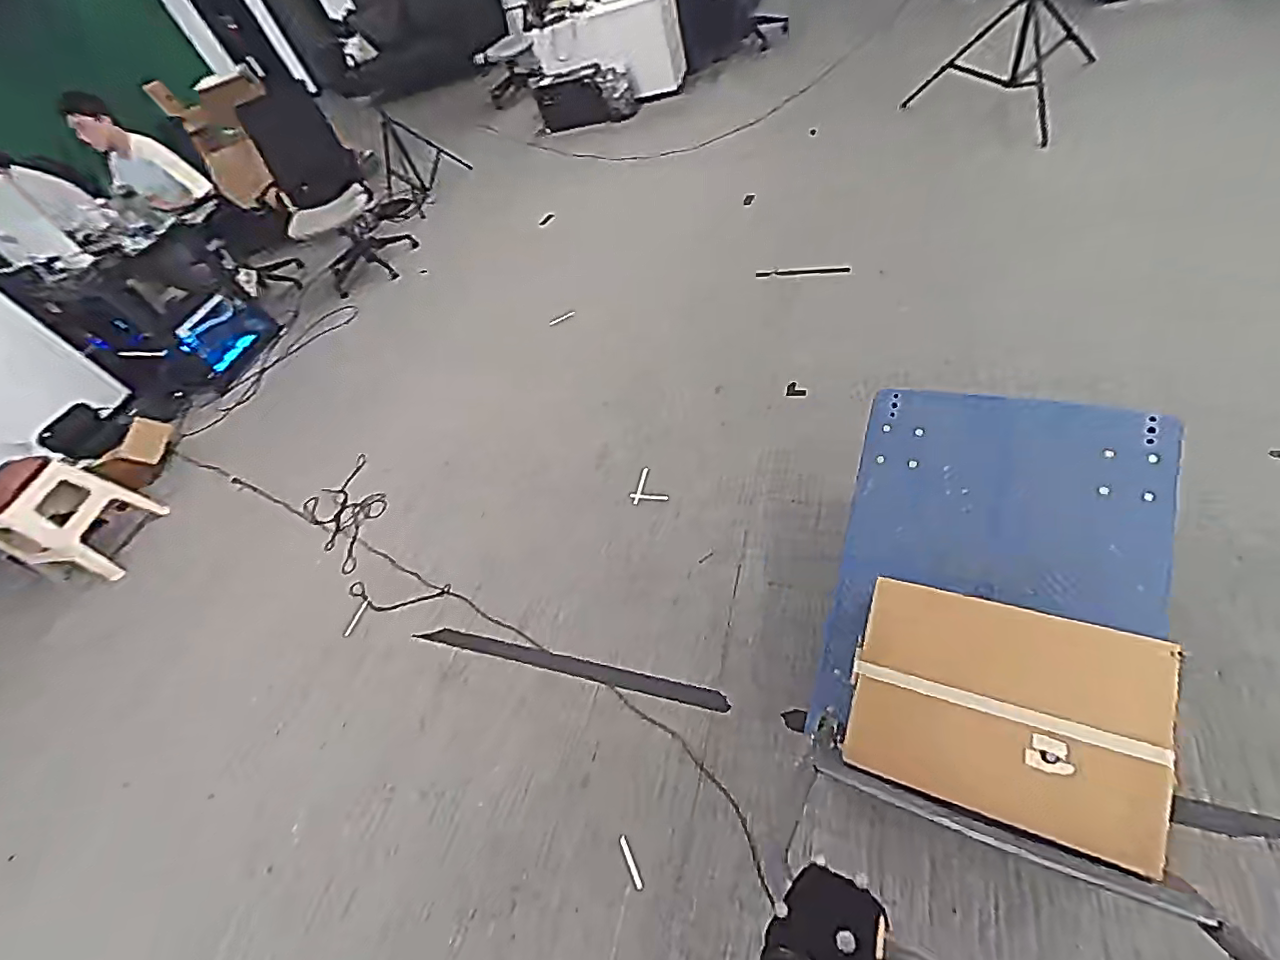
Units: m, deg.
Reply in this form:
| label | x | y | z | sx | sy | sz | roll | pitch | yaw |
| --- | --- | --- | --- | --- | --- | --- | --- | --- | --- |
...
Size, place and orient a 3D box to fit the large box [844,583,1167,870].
| label | x | y | z | sx | sy | sz | roll | pitch | yaw |
| --- | --- | --- | --- | --- | --- | --- | --- | --- | --- |
| large box | 0.607 | 0.398 | 0.974 | 0.408 | 0.320 | 0.320 | 11 | 79 | 26 |
